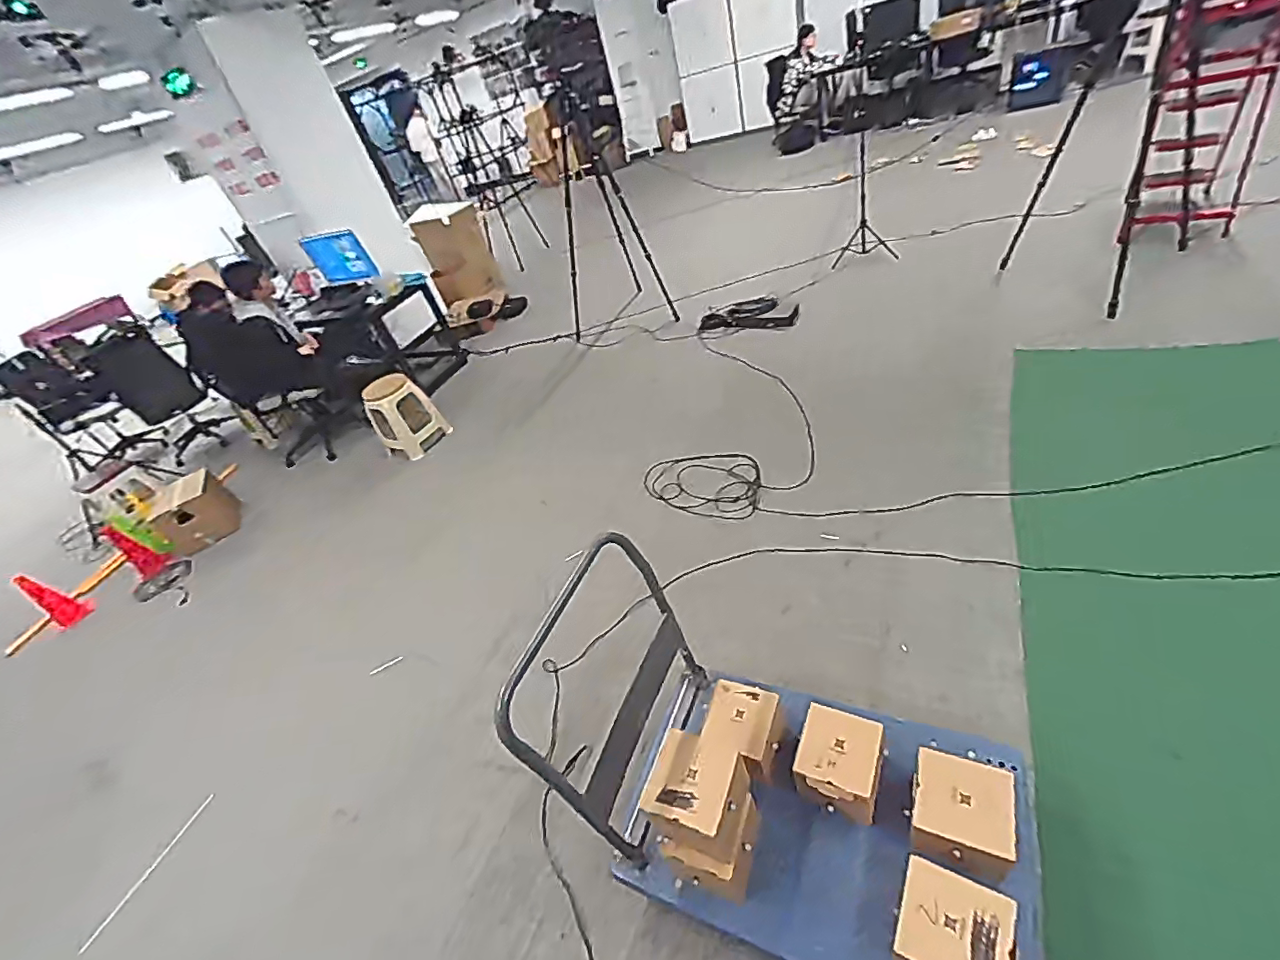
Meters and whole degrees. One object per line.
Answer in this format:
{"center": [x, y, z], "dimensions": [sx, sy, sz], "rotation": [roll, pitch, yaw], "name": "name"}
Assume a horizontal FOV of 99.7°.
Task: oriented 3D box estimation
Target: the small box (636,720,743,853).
{"center": [0.115, 0.659, 1.162], "dimensions": [0.168, 0.176, 0.179], "rotation": [6, 44, 28], "name": "small box"}

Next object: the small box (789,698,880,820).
{"center": [0.463, 0.659, 1.280], "dimensions": [0.168, 0.176, 0.179], "rotation": [8, 46, 31], "name": "small box"}

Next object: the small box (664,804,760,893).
{"center": [0.152, 0.802, 1.253], "dimensions": [0.168, 0.176, 0.179], "rotation": [-35, 40, -17], "name": "small box"}

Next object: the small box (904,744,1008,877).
{"center": [0.665, 0.700, 1.145], "dimensions": [0.179, 0.176, 0.168], "rotation": [6, 45, 29], "name": "small box"}
